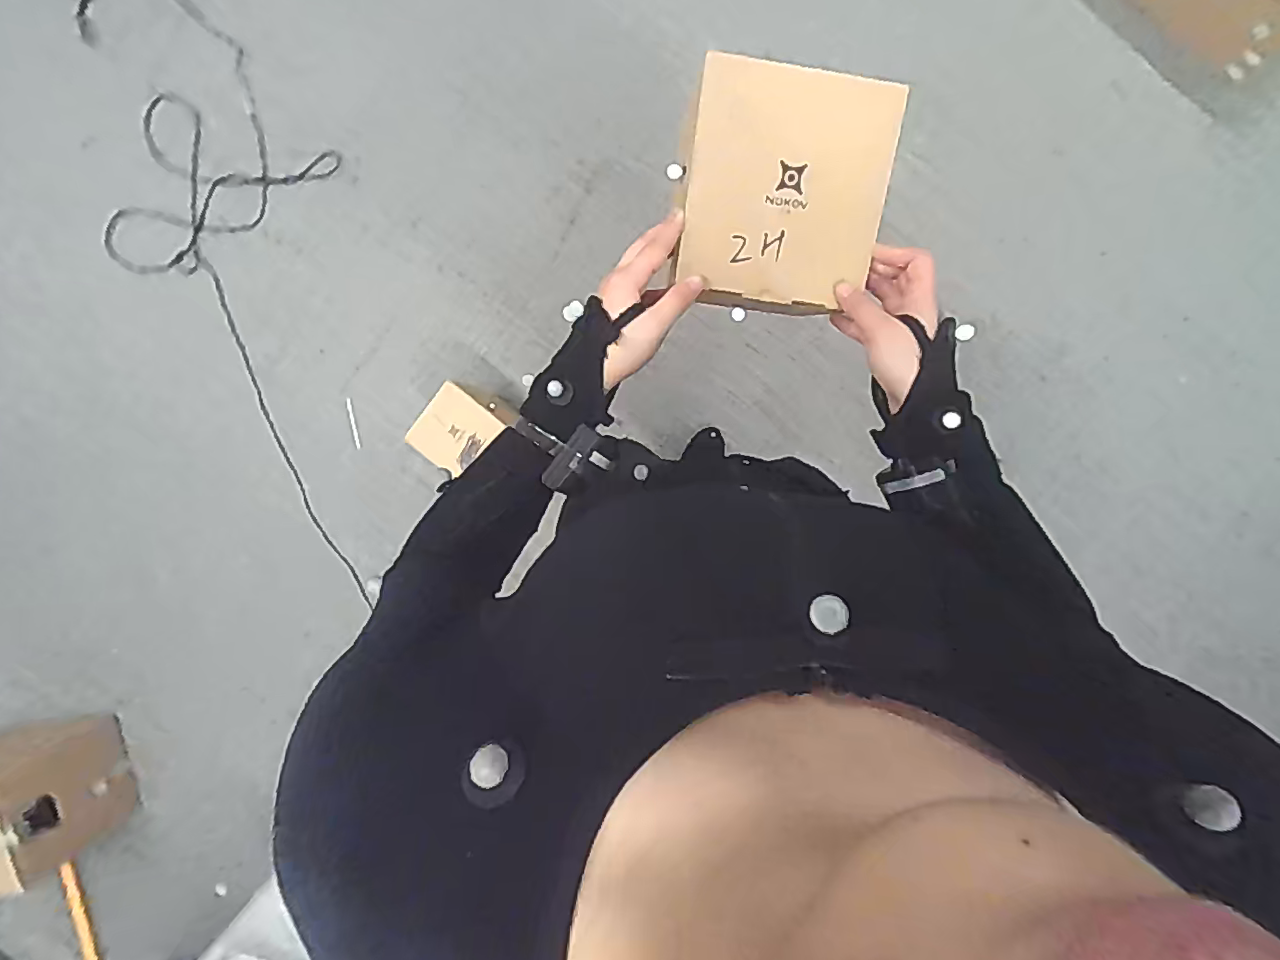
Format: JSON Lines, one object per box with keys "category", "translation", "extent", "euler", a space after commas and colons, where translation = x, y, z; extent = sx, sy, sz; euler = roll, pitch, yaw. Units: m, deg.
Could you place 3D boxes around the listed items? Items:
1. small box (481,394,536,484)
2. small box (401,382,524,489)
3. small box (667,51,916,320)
{"category": "small box", "translation": [-0.393, -0.113, 1.398], "extent": [0.179, 0.176, 0.168], "euler": [38, 96, -2]}
{"category": "small box", "translation": [-0.393, -0.104, 1.233], "extent": [0.179, 0.176, 0.168], "euler": [39, 96, -1]}
{"category": "small box", "translation": [0.123, -0.256, 0.518], "extent": [0.168, 0.176, 0.179], "euler": [8, 106, -4]}
